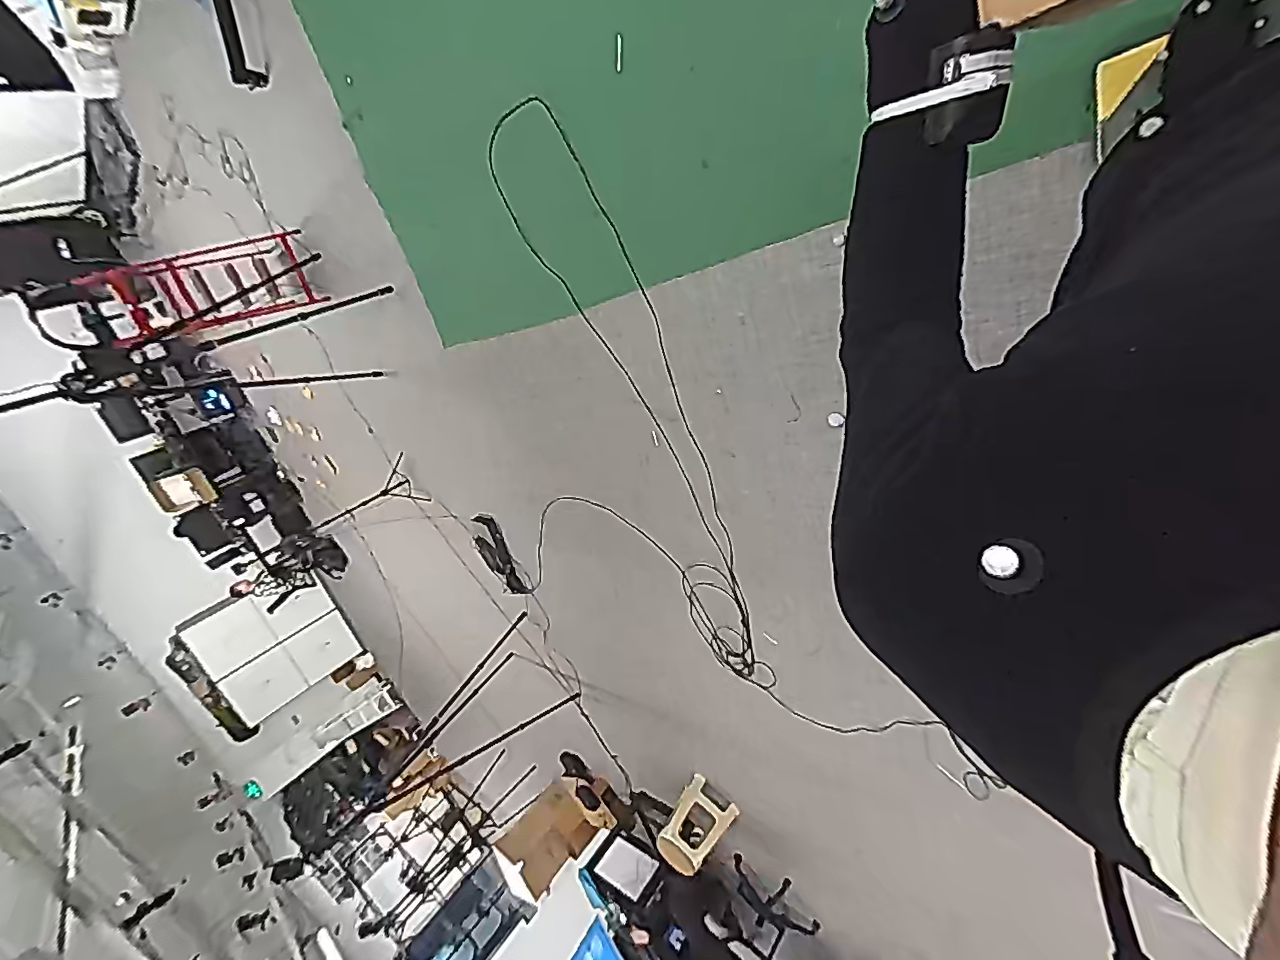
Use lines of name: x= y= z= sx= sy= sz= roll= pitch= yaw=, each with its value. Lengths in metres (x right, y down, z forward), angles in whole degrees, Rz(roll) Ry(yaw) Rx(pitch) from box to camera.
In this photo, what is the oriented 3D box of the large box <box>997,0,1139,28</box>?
large box: x=0.429 y=-0.517 z=0.272 sx=0.408 sy=0.320 sz=0.320 roll=3 pitch=123 yaw=46
